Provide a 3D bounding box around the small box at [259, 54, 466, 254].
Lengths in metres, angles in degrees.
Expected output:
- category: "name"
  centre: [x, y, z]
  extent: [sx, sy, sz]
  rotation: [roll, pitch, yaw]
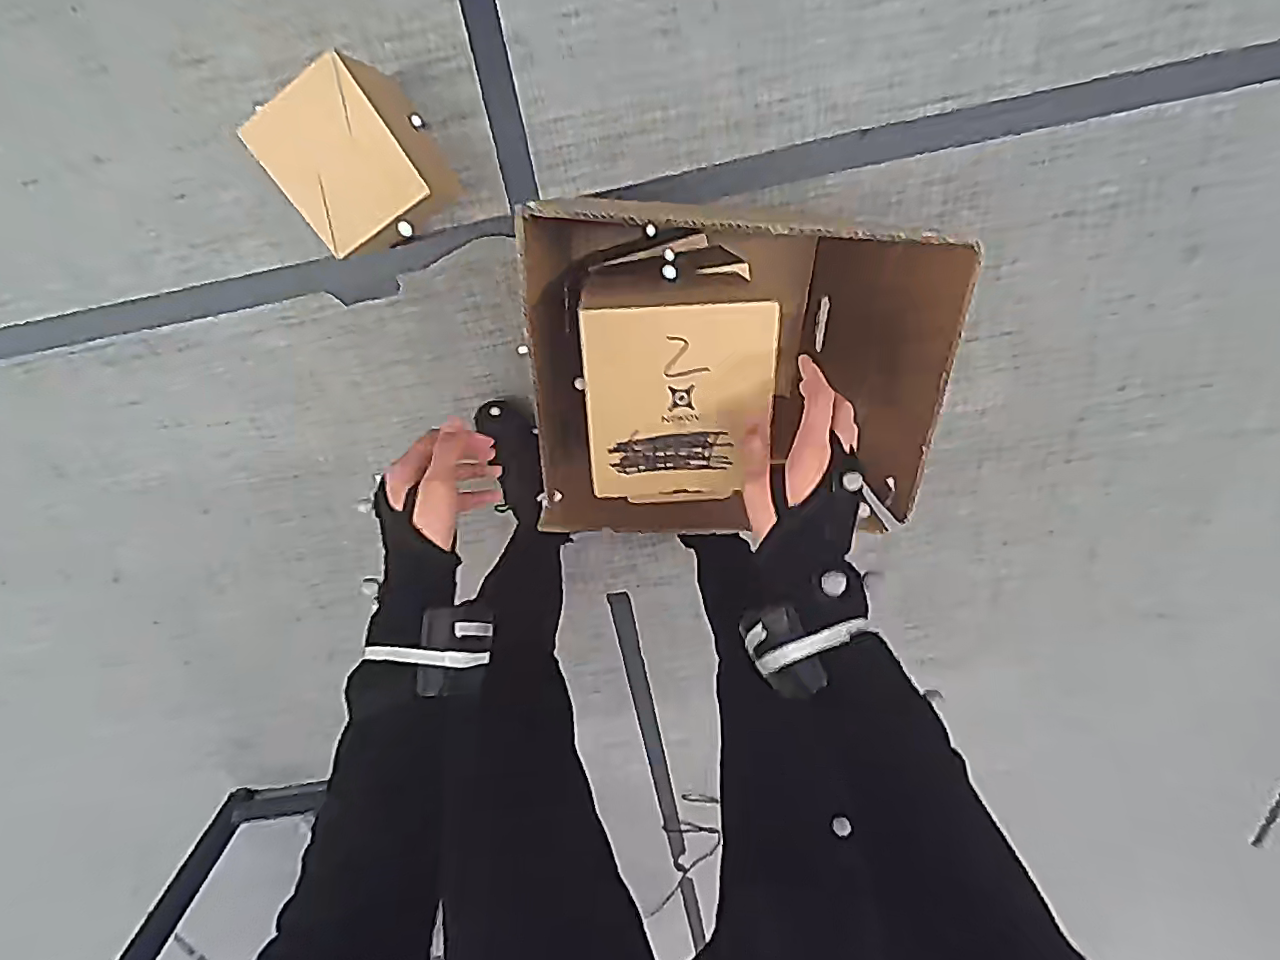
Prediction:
- category: "small box"
  centre: [-0.378, -0.440, 0.749]
  extent: [0.168, 0.176, 0.179]
  rotation: [-27, 114, 14]
